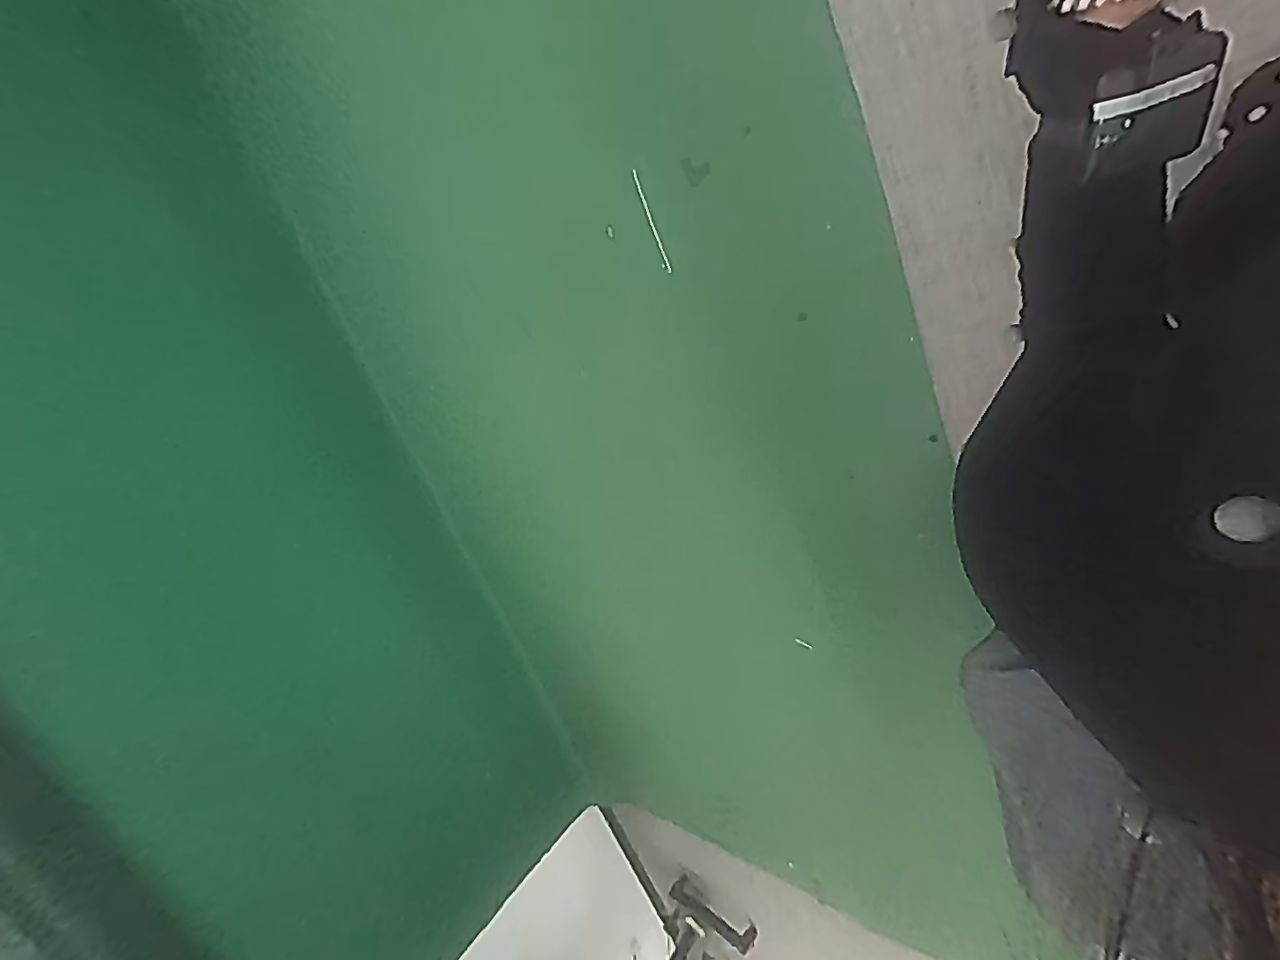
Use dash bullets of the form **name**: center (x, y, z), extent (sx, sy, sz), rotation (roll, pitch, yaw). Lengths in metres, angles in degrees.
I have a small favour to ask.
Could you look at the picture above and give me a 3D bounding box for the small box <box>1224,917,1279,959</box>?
- **small box**: center (0.686, 0.578, 0.509), extent (0.179, 0.176, 0.168), rotation (6, 119, 43)
